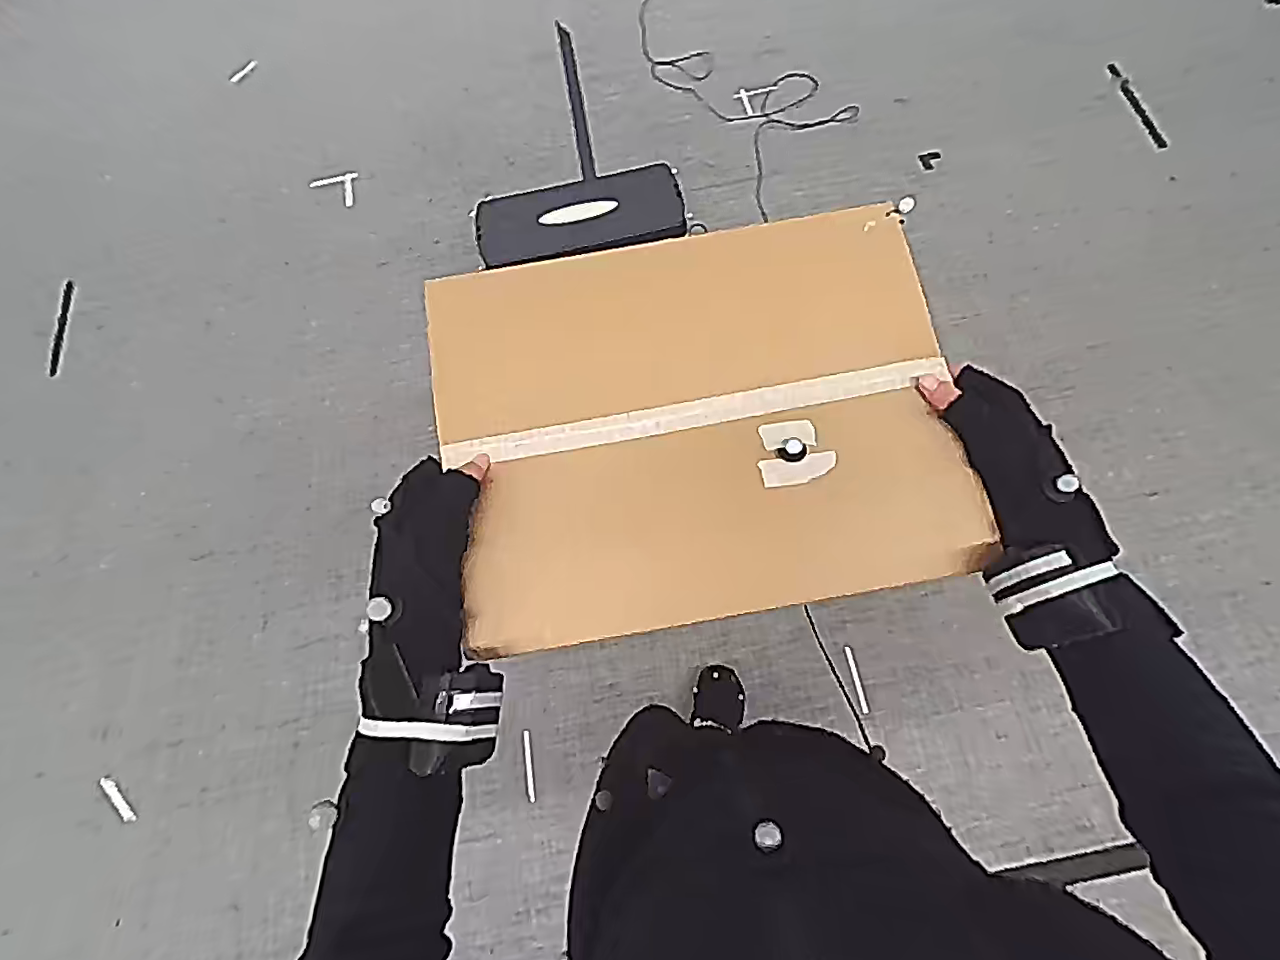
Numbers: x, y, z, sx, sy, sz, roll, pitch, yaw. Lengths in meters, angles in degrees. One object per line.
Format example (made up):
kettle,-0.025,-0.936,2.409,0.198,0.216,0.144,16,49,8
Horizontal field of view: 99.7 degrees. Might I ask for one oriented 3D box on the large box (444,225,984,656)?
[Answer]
large box,0.050,-0.014,0.593,0.408,0.320,0.320,-10,78,-1
